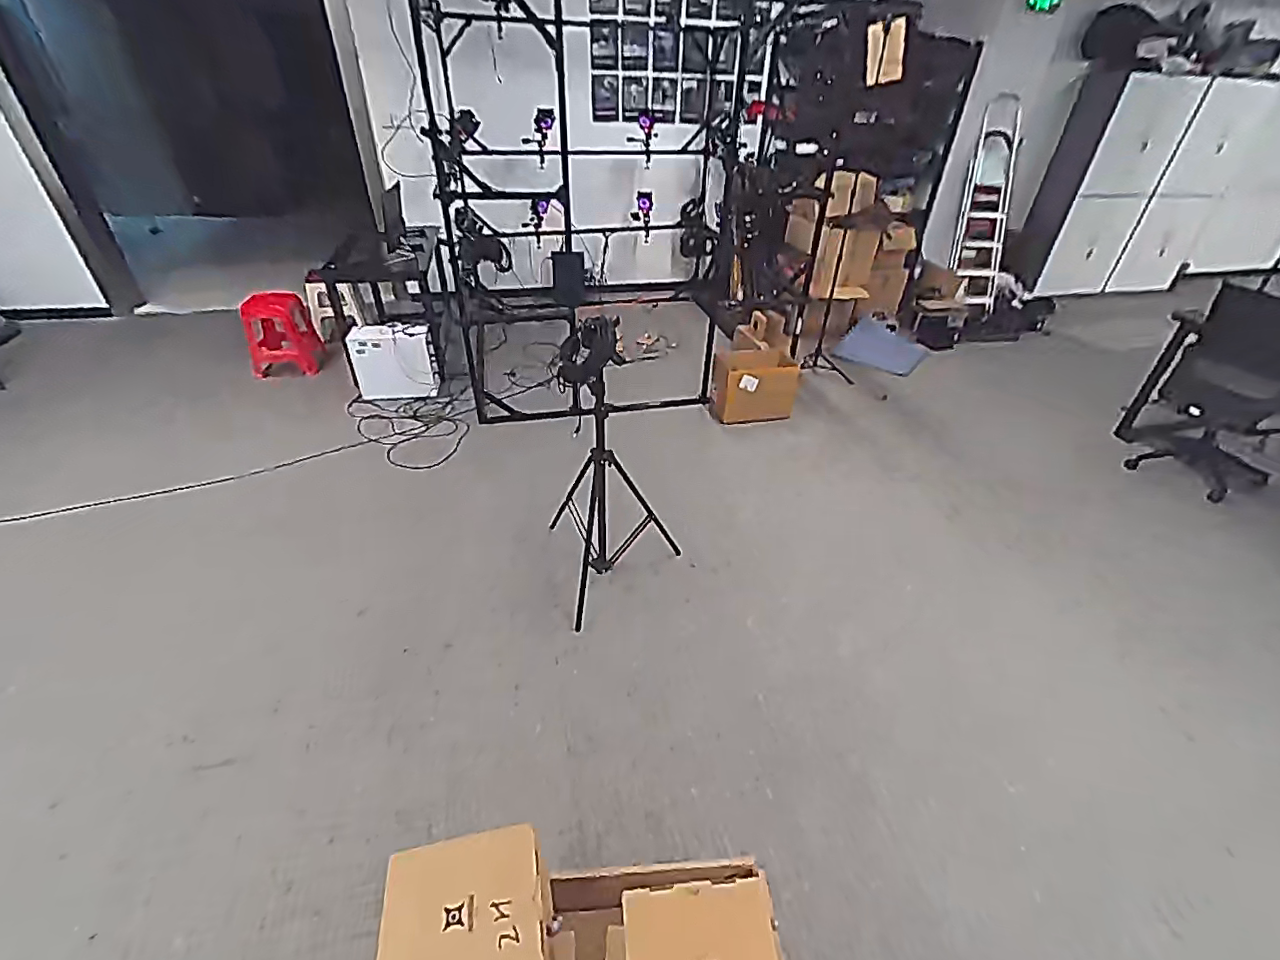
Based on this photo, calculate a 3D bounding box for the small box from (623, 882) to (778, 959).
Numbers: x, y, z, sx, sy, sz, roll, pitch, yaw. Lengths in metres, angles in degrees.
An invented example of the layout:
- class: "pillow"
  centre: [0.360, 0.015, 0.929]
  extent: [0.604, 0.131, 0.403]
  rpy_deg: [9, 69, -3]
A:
- class: "small box"
  centre: [0.070, 0.586, 0.611]
  extent: [0.168, 0.176, 0.179]
  rpy_deg: [-4, 42, -2]

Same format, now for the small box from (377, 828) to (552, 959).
- class: "small box"
  centre: [-0.200, 0.560, 0.647]
  extent: [0.179, 0.176, 0.168]
  rpy_deg: [-6, 36, -11]
